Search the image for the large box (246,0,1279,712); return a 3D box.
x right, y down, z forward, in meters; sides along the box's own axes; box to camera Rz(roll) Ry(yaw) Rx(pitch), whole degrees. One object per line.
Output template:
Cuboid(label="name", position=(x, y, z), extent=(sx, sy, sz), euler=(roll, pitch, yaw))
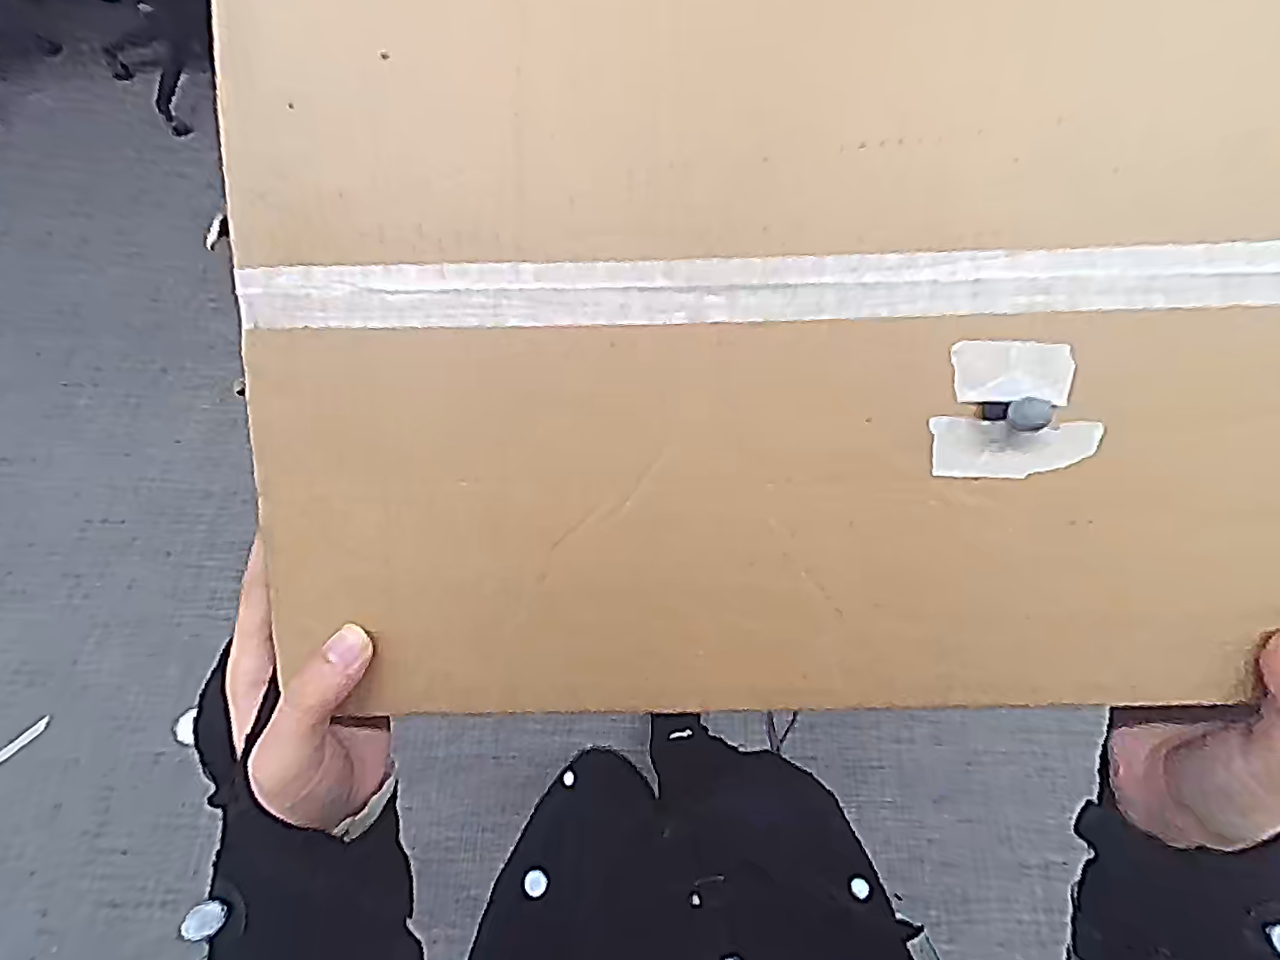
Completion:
Cuboid(label="large box", position=(0.059, -0.081, 0.350), extent=(0.408, 0.320, 0.320), euler=(-2, 96, -1))
